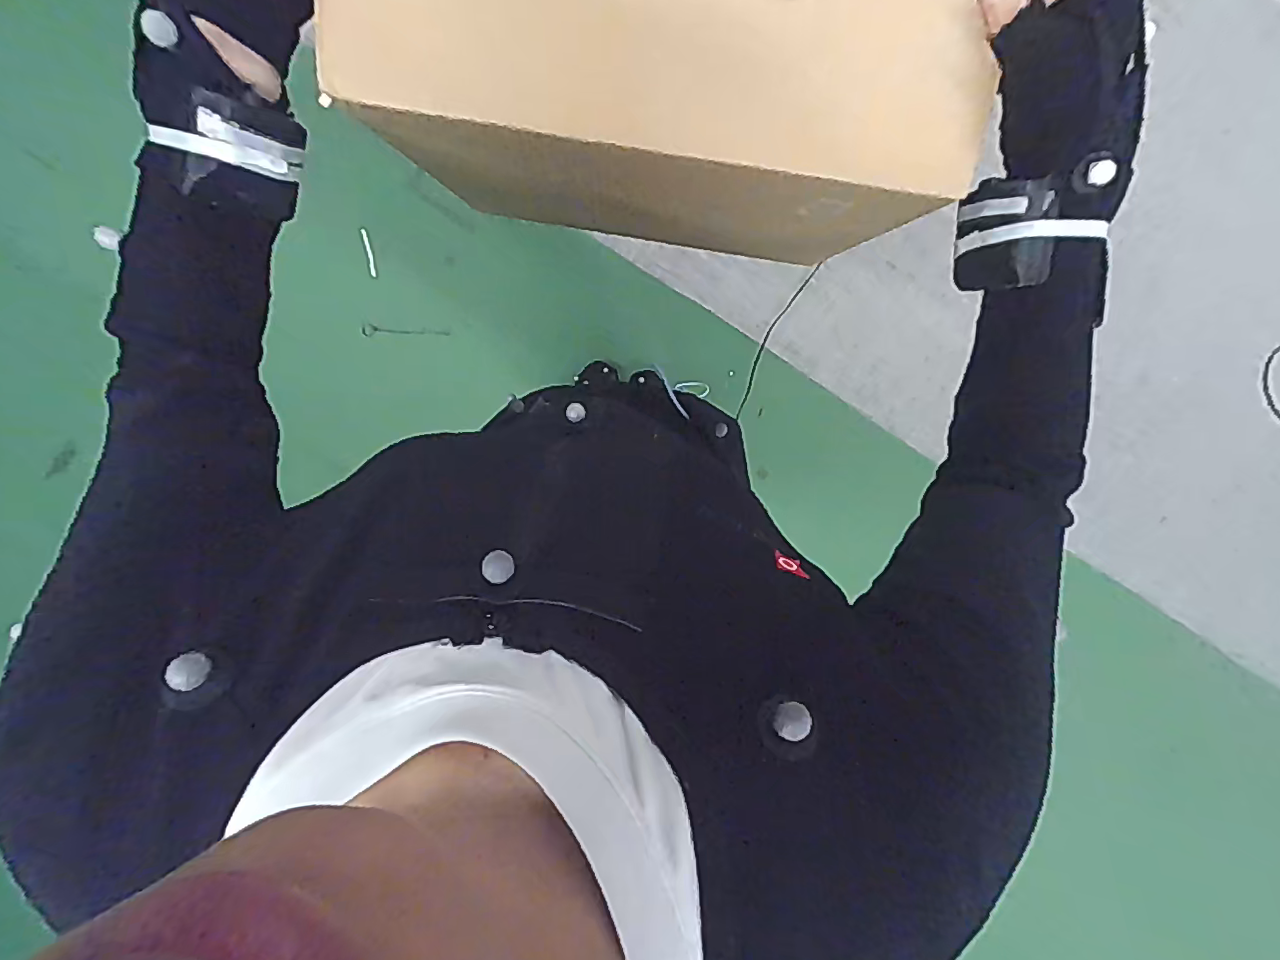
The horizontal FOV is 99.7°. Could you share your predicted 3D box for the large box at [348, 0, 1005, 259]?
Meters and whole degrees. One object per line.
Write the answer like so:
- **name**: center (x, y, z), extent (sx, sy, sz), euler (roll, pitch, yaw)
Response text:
- **large box**: center (0.031, -0.395, 0.455), extent (0.408, 0.320, 0.320), euler (8, 105, -2)
